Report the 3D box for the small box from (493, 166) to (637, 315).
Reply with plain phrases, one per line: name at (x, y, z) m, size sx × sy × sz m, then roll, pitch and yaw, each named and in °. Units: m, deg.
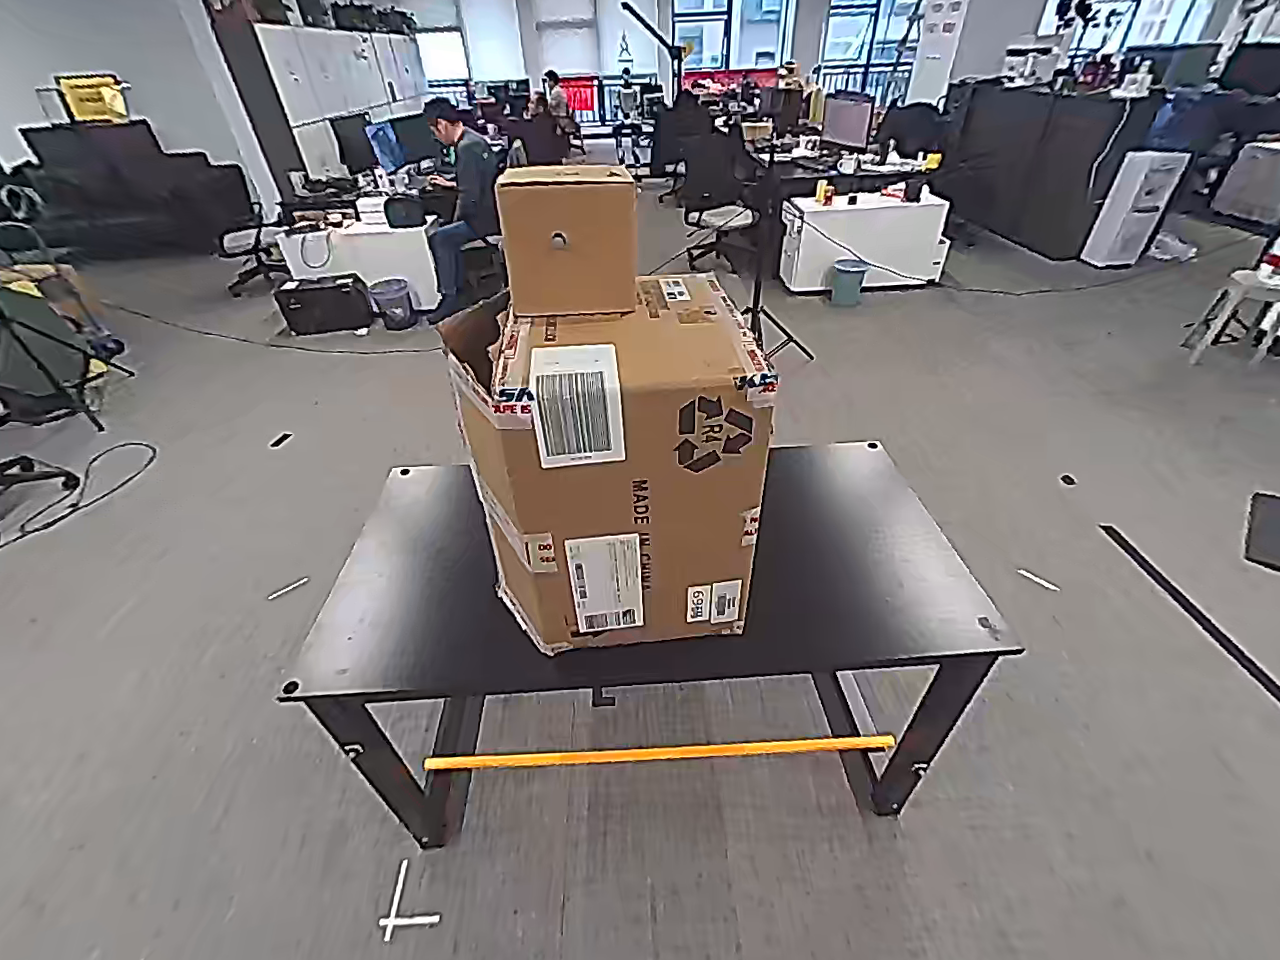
small box at (-0.101, -0.346, 0.780) m, size 0.179 × 0.176 × 0.168 m, roll -5°, pitch 36°, yaw -4°
